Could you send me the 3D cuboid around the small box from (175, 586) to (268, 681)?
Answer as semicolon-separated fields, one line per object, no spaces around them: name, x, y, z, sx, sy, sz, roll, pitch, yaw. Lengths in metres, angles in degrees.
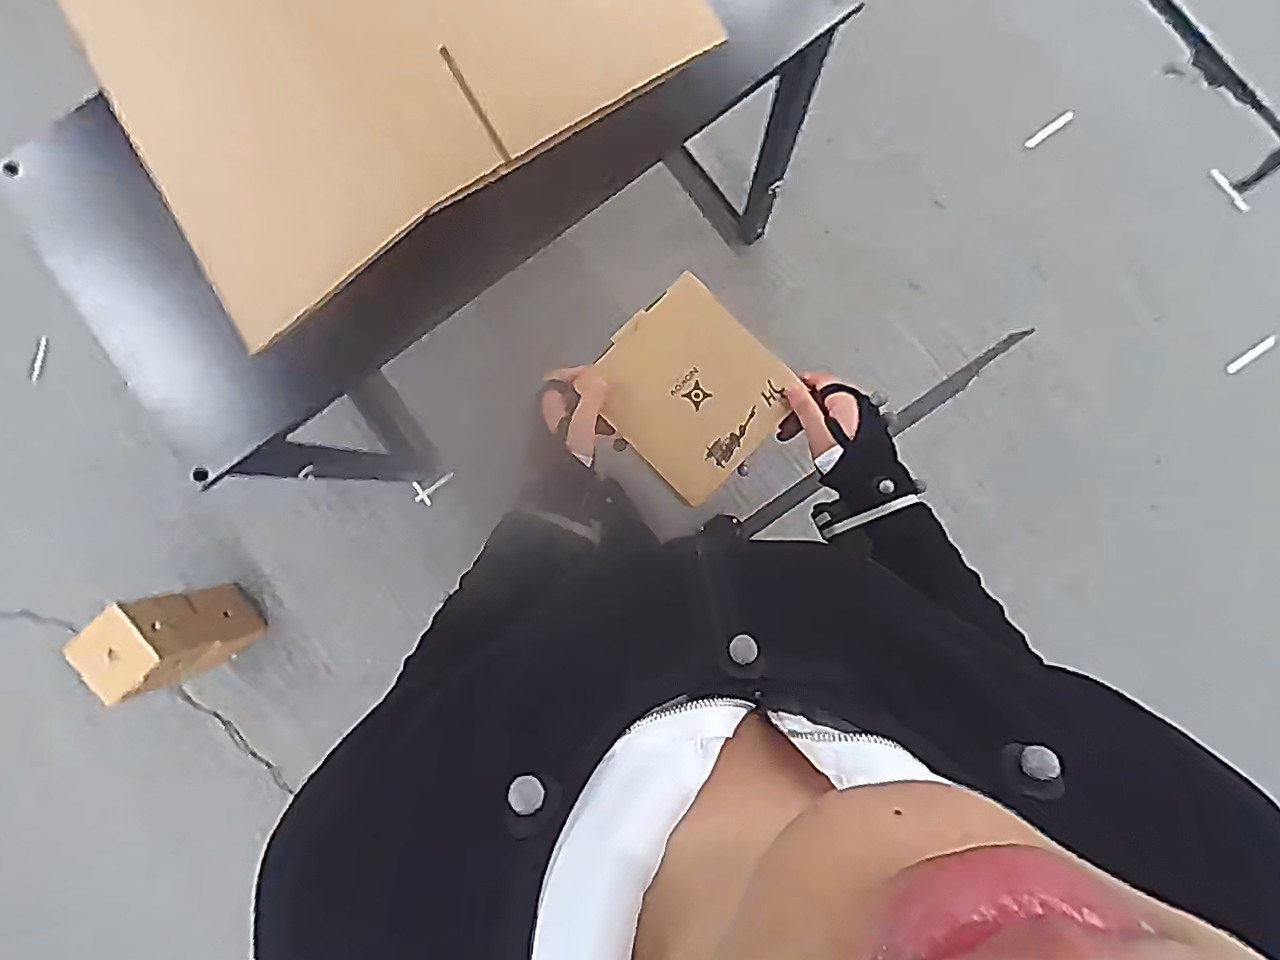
small box;-1.177;0.405;1.473;0.168;0.176;0.179;-40;88;1

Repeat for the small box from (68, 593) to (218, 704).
small box;-1.191;0.397;1.311;0.168;0.176;0.179;-43;86;0
